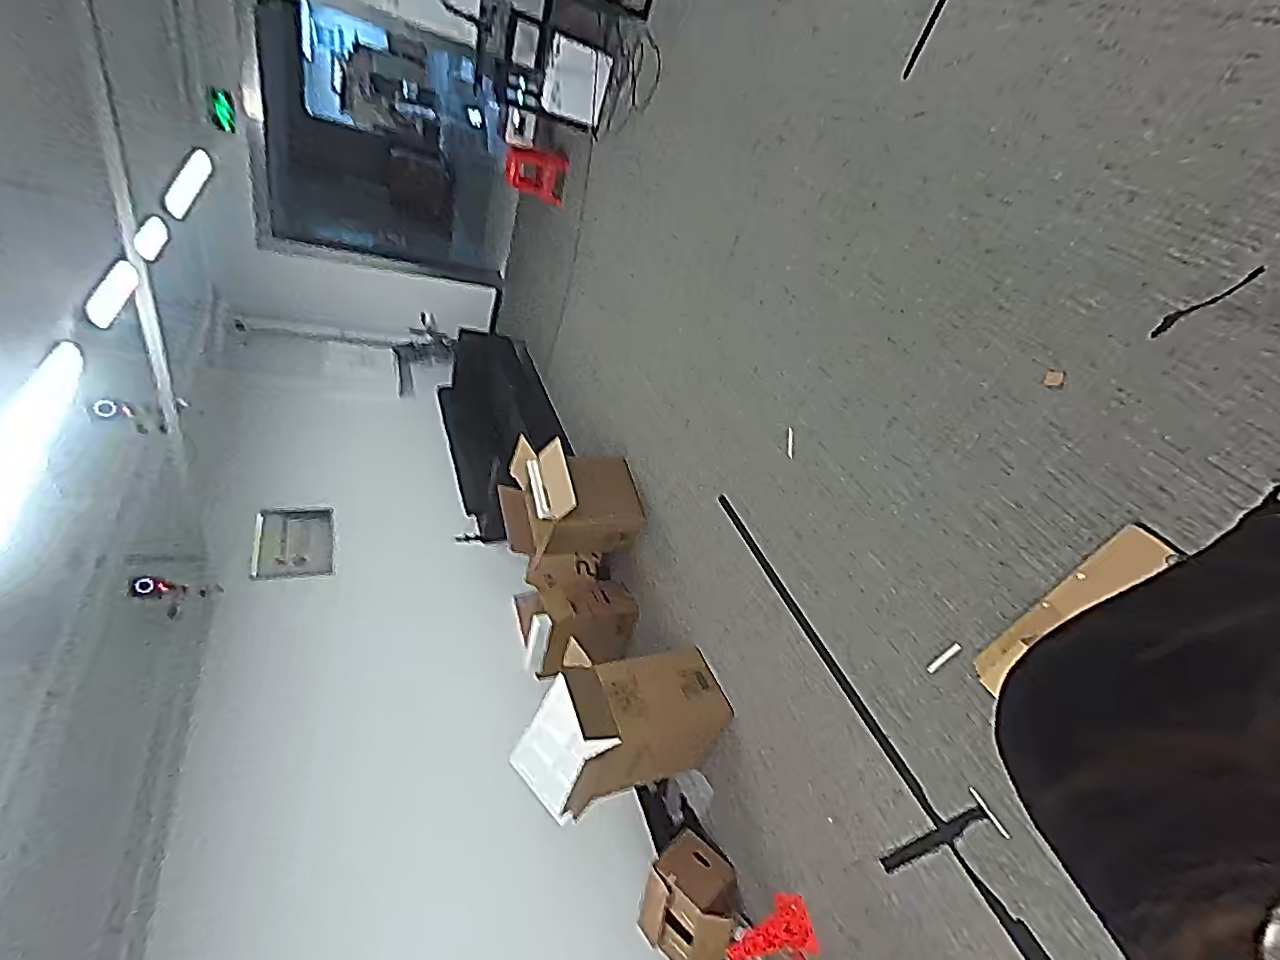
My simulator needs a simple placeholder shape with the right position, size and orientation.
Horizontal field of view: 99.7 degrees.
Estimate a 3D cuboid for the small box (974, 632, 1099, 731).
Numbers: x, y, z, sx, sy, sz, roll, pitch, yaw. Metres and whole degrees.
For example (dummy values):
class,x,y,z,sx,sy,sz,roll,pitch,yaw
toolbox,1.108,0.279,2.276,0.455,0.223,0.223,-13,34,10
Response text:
class,x,y,z,sx,sy,sz,roll,pitch,yaw
small box,1.038,0.522,1.414,0.168,0.176,0.179,57,137,45
